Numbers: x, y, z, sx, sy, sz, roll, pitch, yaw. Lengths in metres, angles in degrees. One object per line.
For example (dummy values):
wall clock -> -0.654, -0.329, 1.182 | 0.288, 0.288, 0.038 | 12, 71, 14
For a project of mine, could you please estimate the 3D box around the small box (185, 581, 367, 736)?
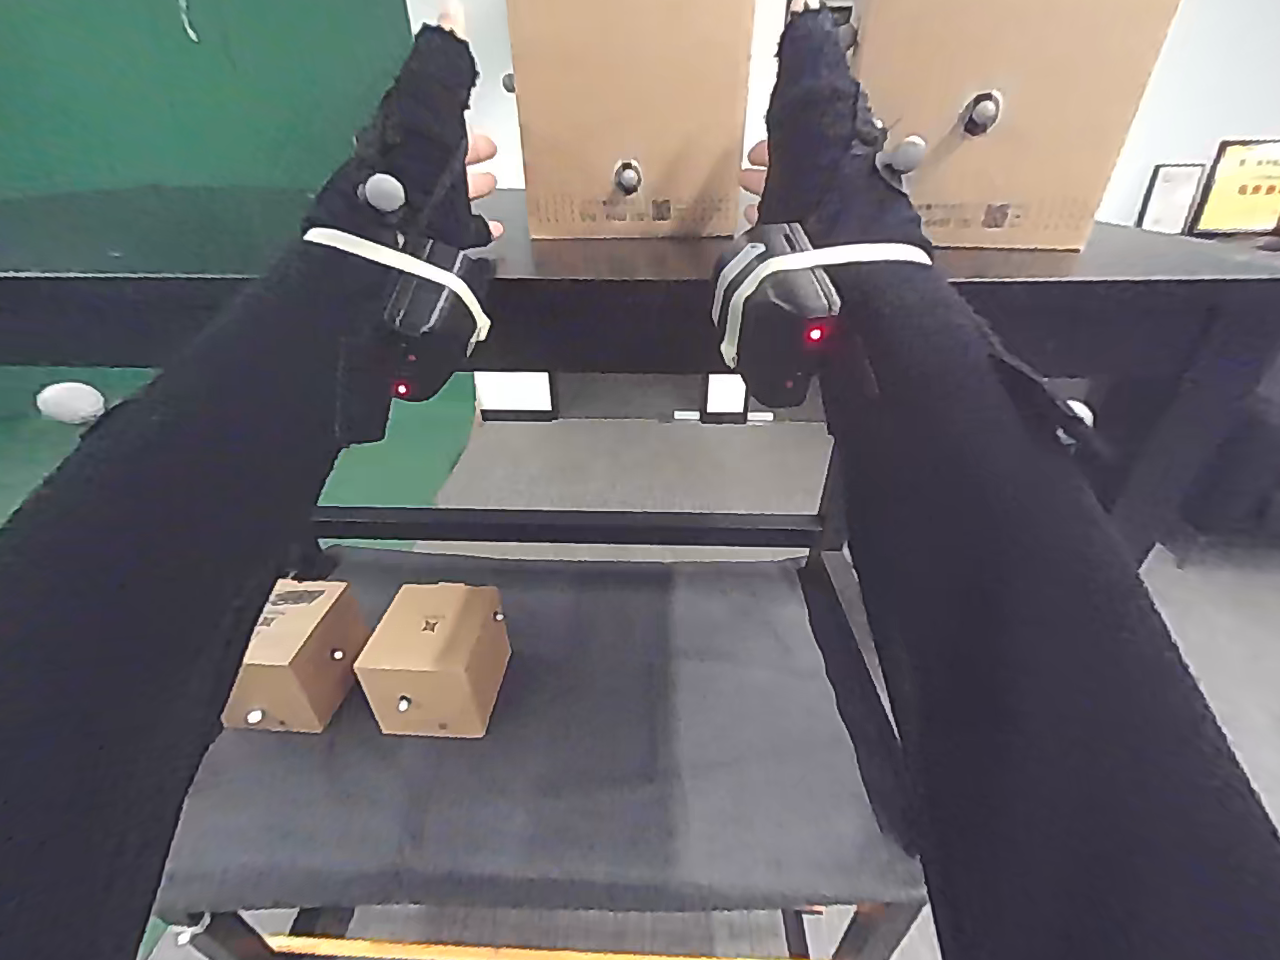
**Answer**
small box -> -0.579, 0.291, 0.894 | 0.168, 0.176, 0.179 | 1, 33, 3

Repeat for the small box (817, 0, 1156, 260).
small box -> 0.235, -0.272, 0.415 | 0.168, 0.176, 0.179 | 7, 33, 11

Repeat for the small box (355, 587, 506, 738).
small box -> -0.326, 0.298, 0.888 | 0.168, 0.176, 0.179 | 2, 32, 2
